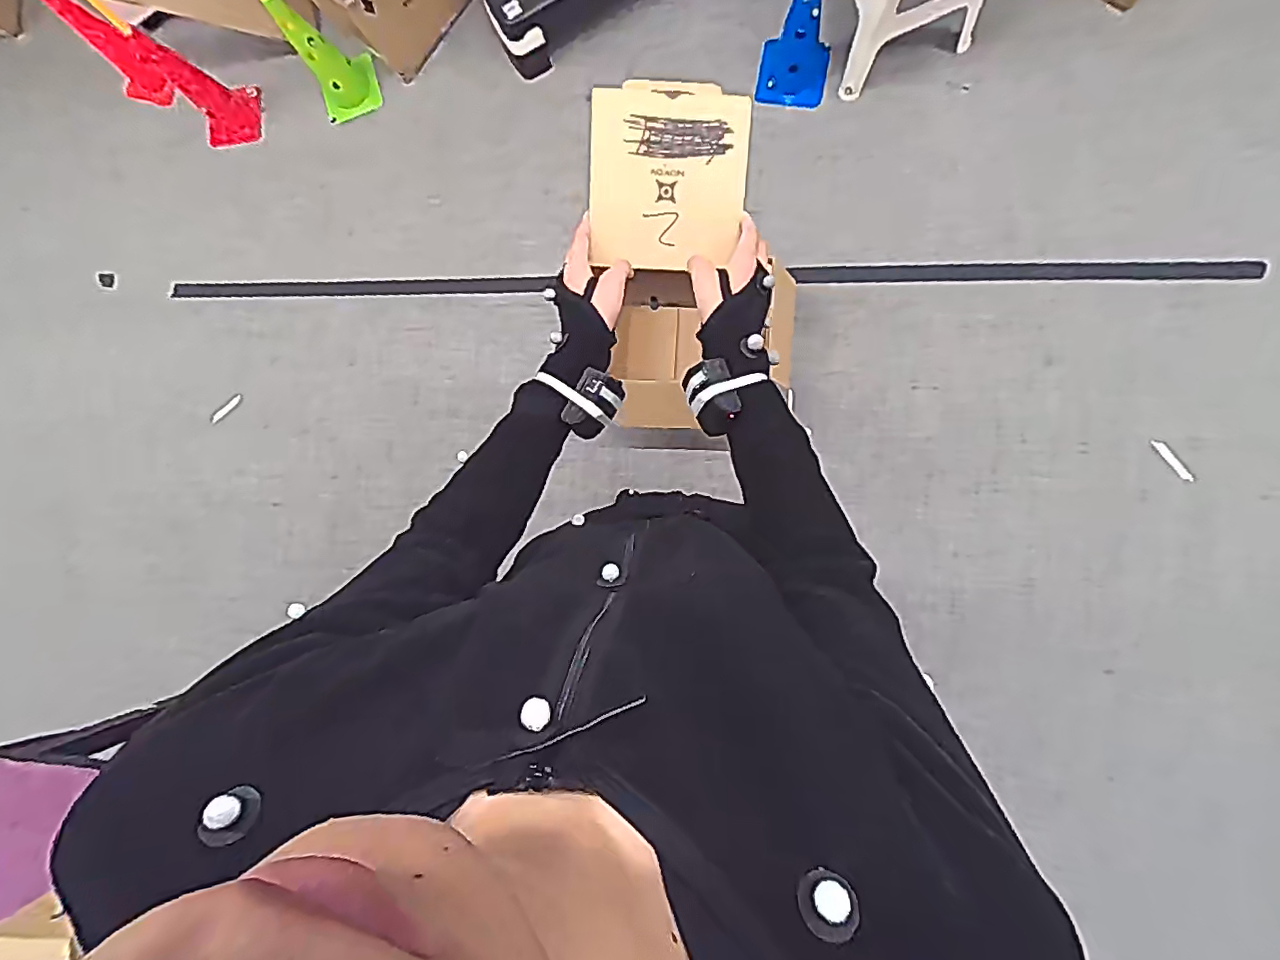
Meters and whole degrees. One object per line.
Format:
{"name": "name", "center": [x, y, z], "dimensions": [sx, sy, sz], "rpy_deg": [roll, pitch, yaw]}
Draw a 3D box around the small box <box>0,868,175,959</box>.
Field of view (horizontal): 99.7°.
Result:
{"name": "small box", "center": [-0.950, 0.807, 0.932], "dimensions": [0.179, 0.176, 0.168], "rpy_deg": [-5, 87, 8]}
